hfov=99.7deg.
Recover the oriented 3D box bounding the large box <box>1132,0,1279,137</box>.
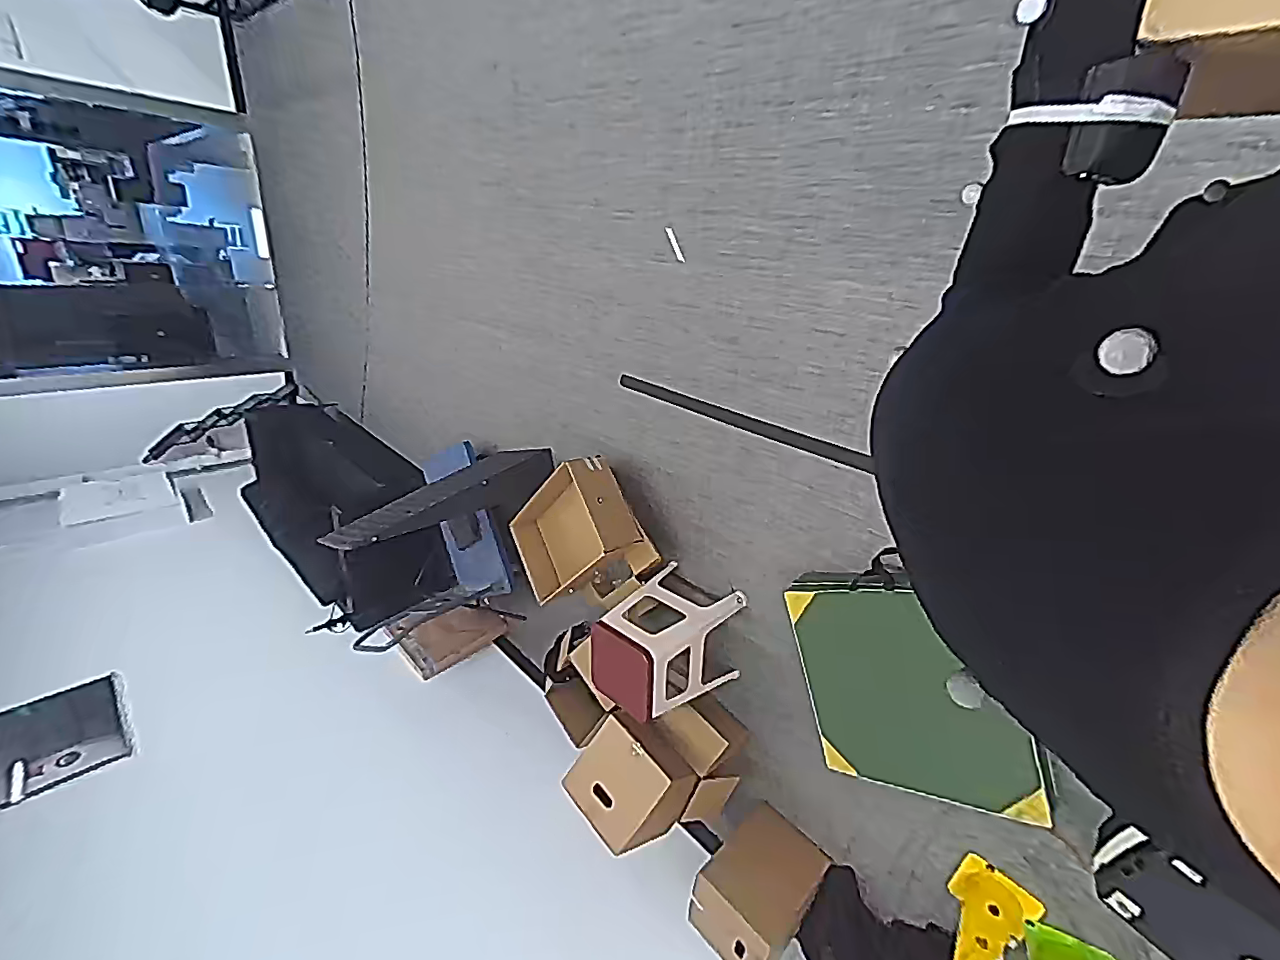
[{"bbox_3d":[0.559,-0.383,0.267,0.408,0.320,0.320,23,123,36],"label":"large box"}]
